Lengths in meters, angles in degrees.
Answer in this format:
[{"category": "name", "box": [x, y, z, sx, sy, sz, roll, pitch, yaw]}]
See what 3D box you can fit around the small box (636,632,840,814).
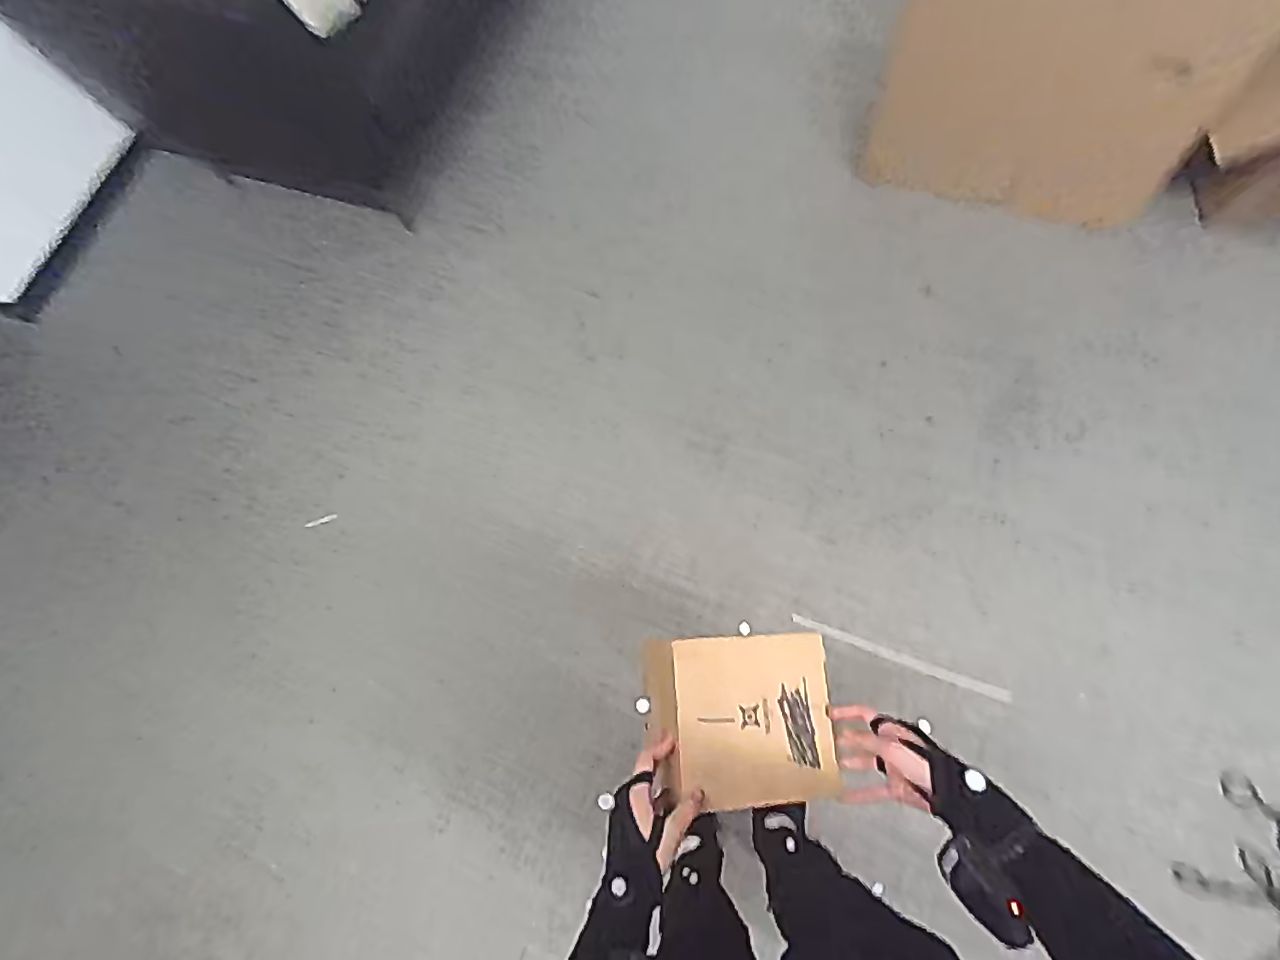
[{"category": "small box", "box": [0.100, 0.264, 0.627, 0.179, 0.176, 0.168, 1, 73, -12]}]
